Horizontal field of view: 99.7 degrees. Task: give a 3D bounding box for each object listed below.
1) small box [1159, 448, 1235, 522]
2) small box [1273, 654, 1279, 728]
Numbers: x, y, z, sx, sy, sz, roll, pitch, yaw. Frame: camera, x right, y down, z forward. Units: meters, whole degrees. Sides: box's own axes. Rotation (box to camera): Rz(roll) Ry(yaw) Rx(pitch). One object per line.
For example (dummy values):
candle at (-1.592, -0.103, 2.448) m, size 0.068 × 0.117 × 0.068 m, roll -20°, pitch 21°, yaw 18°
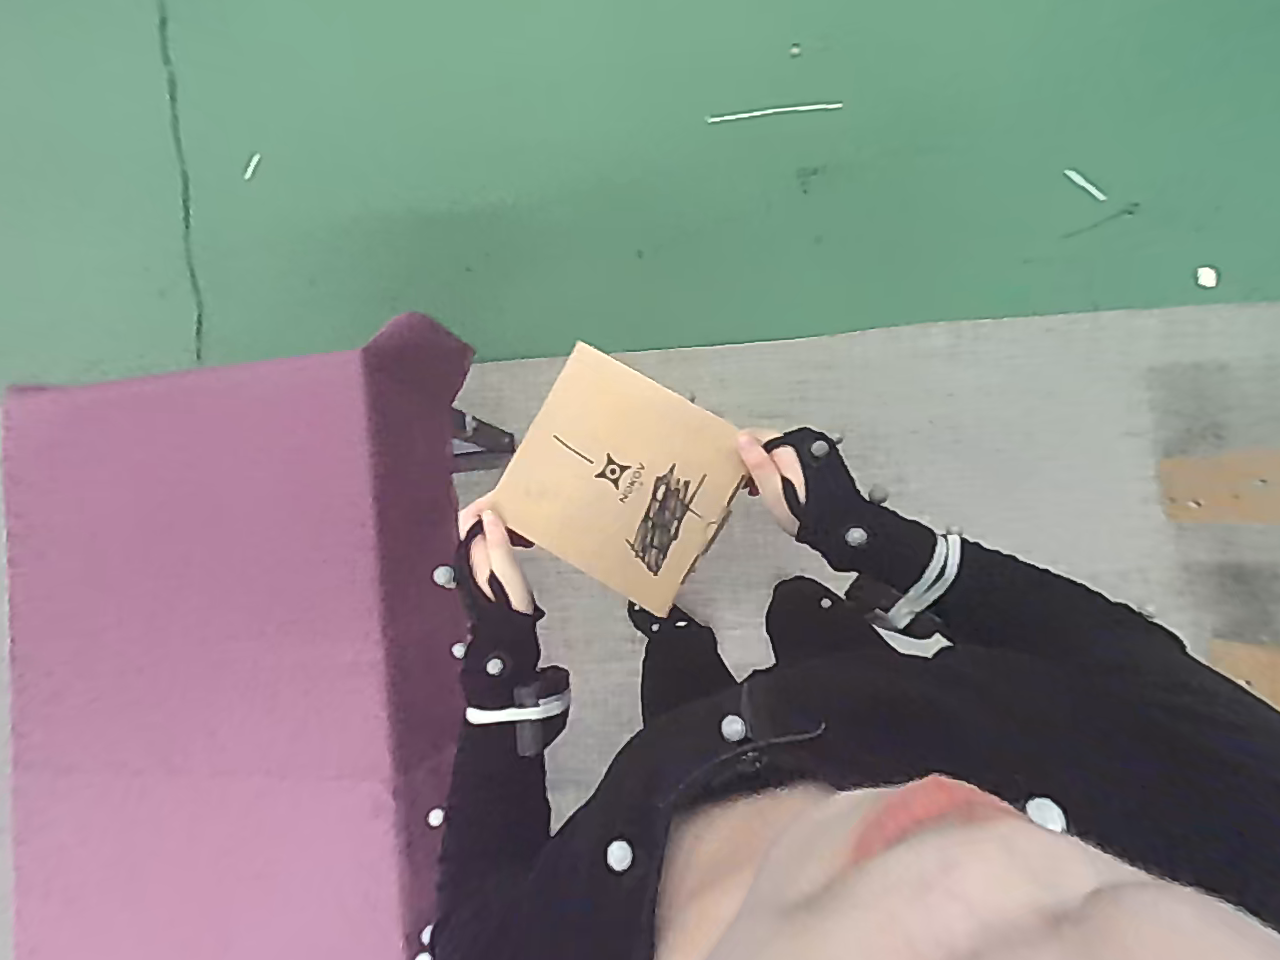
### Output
small box at (1.370, 0.013, 1.262) m, size 0.179 × 0.176 × 0.168 m, roll -5°, pitch 86°, yaw 5°
small box at (1.418, 0.446, 1.060) m, size 0.168 × 0.176 × 0.179 m, roll 0°, pitch 86°, yaw 6°
